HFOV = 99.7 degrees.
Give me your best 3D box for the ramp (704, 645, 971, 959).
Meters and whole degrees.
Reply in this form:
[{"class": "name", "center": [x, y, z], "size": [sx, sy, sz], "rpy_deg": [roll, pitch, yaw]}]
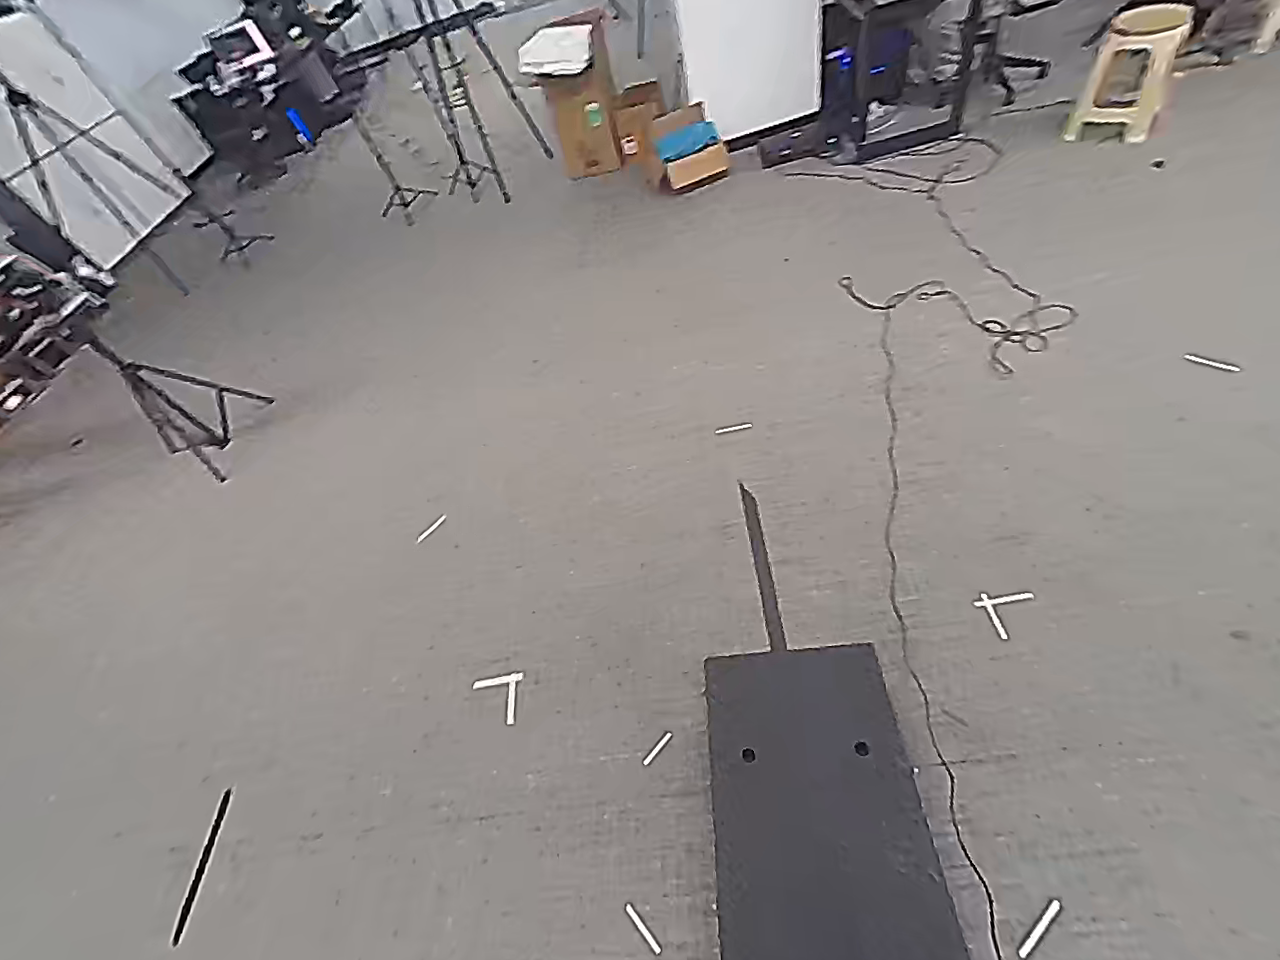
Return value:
[{"class": "ramp", "center": [0.411, 0.847, 1.232], "size": [0.509, 0.206, 0.991], "rpy_deg": [-12, 50, 11]}]
